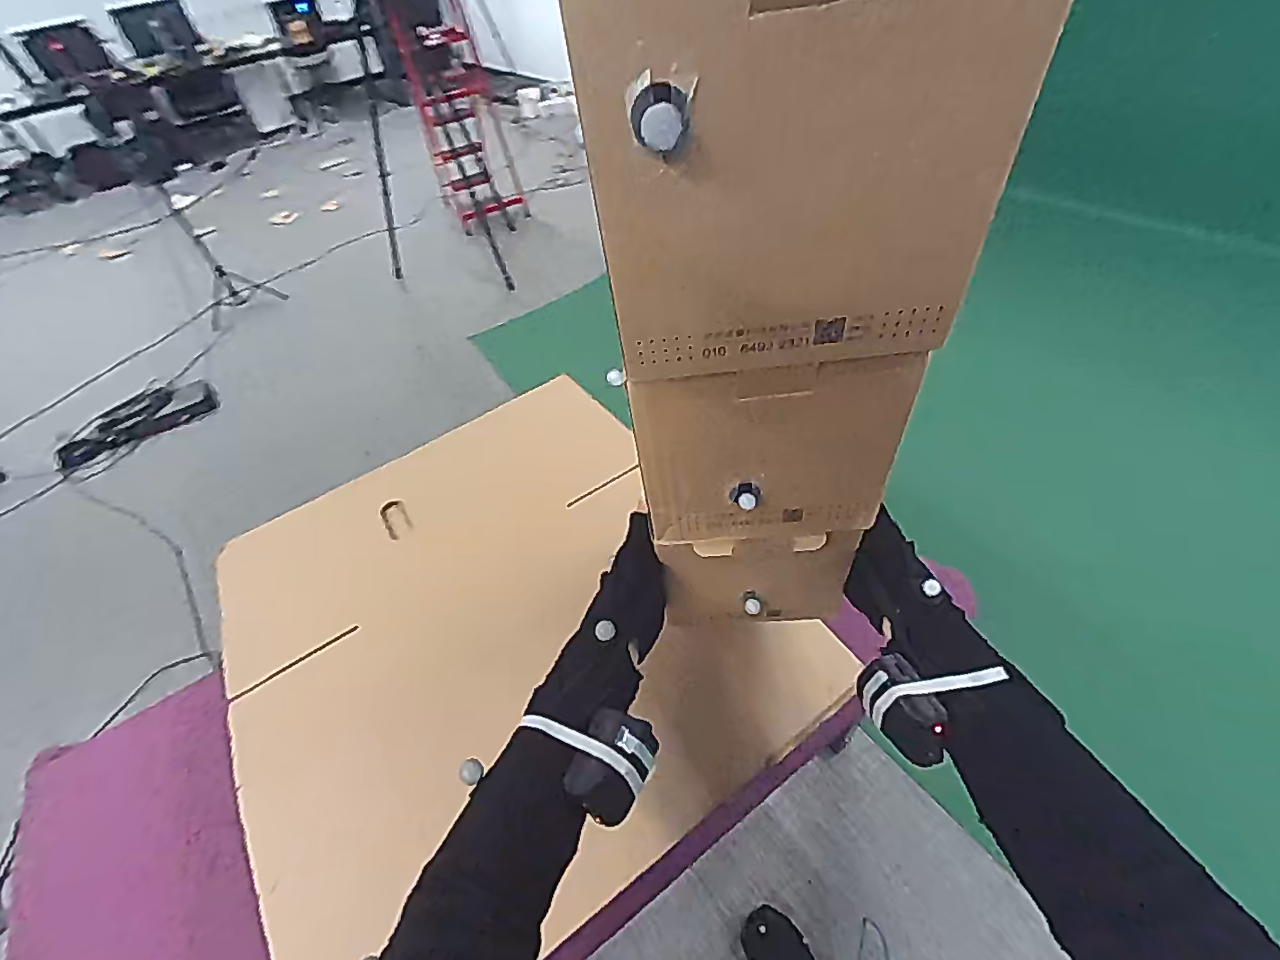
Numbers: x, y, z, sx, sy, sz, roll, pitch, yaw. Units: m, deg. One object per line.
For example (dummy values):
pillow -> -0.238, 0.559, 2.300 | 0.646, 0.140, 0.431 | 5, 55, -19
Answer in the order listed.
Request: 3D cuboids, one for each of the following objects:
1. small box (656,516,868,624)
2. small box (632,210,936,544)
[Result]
small box -> 0.106, 0.025, 0.534 | 0.168, 0.176, 0.179 | -4, 50, 7
small box -> 0.085, -0.073, 0.406 | 0.168, 0.176, 0.179 | -5, 50, 5
